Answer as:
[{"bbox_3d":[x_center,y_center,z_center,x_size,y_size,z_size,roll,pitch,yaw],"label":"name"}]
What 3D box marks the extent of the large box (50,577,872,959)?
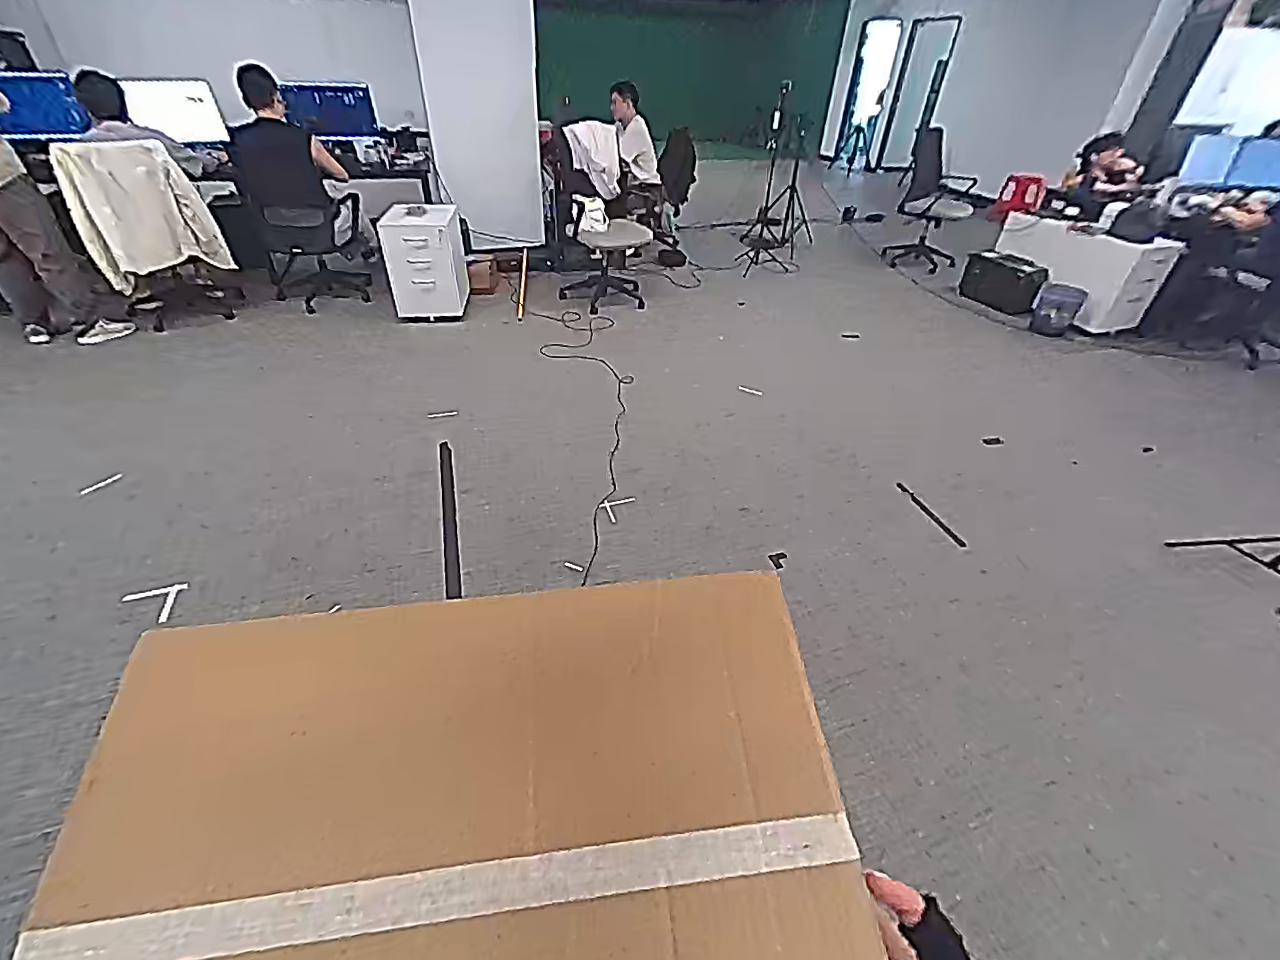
[{"bbox_3d":[-0.093,0.296,0.401,0.408,0.320,0.320,-5,57,-5],"label":"large box"}]
